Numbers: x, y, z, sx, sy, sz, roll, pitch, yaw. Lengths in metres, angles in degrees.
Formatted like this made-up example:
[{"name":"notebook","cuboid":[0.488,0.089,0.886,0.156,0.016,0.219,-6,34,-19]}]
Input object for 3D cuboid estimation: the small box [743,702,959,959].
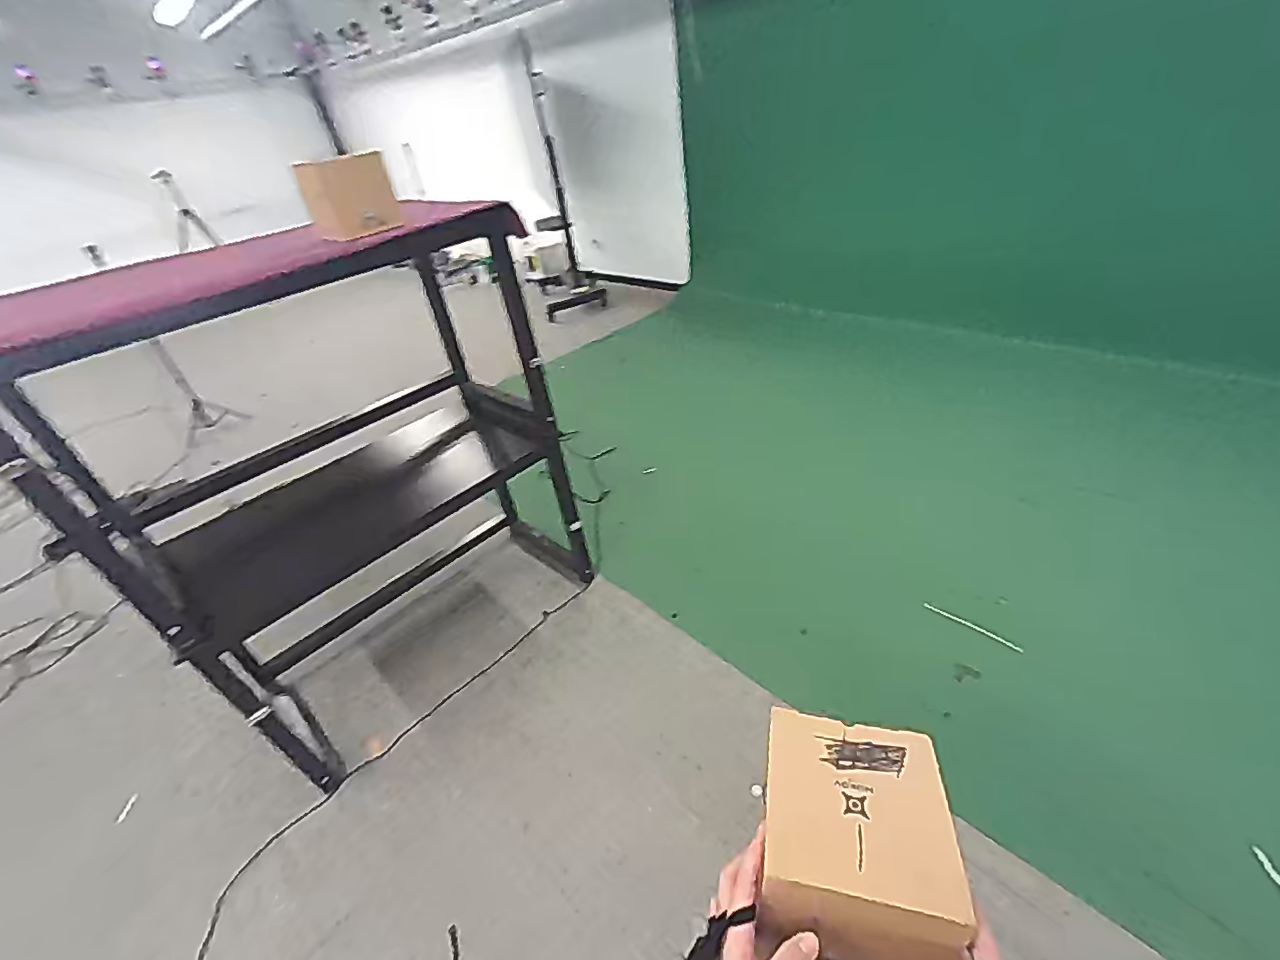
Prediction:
[{"name":"small box","cuboid":[0.199,0.370,0.562,0.168,0.176,0.179,5,30,12]}]
